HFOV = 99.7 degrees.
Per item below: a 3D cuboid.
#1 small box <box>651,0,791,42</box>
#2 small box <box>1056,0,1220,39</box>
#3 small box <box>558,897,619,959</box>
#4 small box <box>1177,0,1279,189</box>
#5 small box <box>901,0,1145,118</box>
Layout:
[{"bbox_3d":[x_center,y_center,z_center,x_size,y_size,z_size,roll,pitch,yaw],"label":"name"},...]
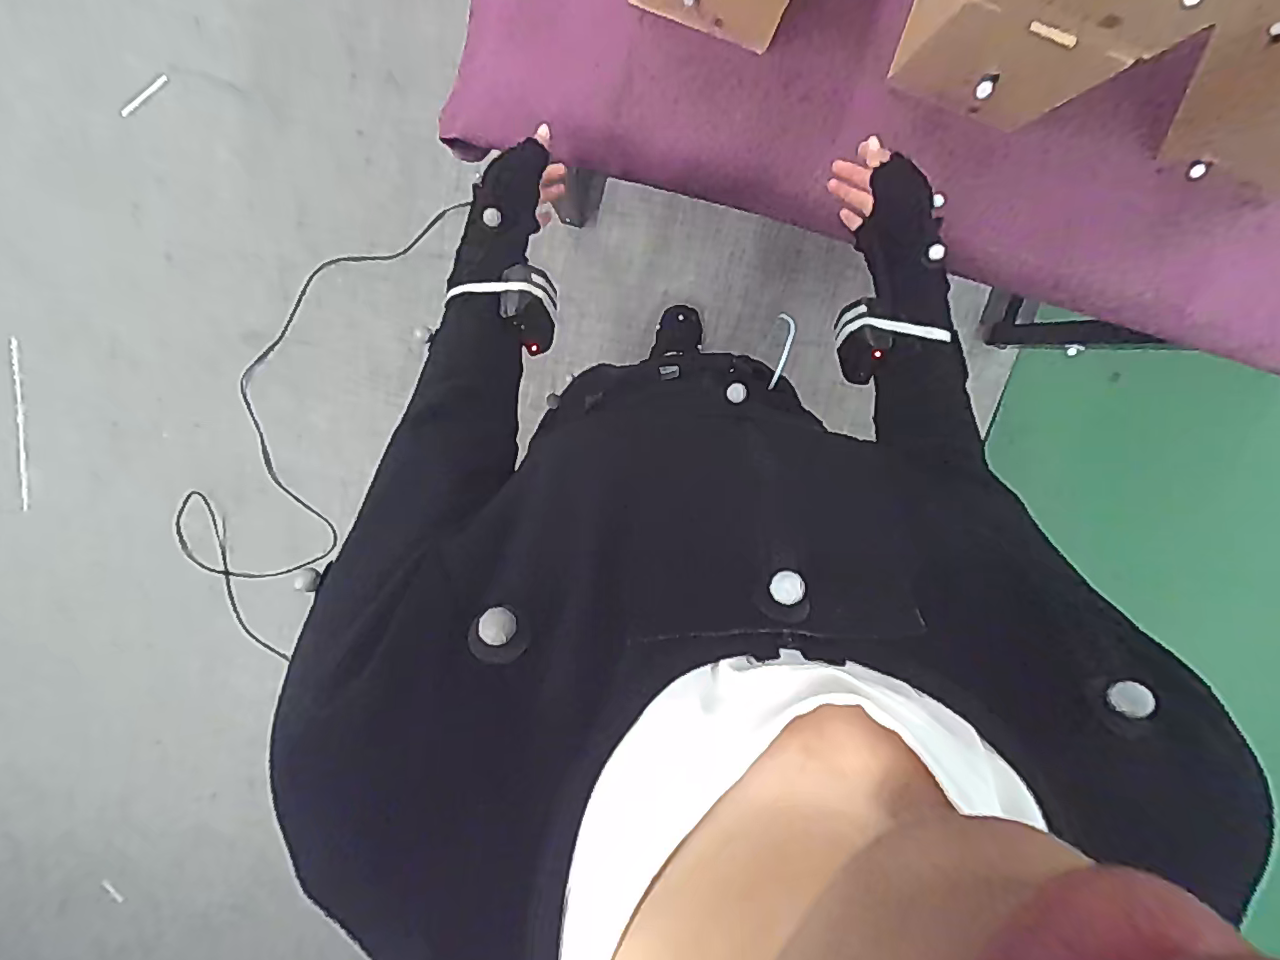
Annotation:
[{"bbox_3d":[0.098,-0.576,0.509,0.168,0.176,0.179,16,103,-5],"label":"small box"},{"bbox_3d":[0.400,-0.462,0.373,0.168,0.176,0.179,16,103,-5],"label":"small box"},{"bbox_3d":[-0.161,1.459,1.686,0.168,0.176,0.179,12,104,-4],"label":"small box"},{"bbox_3d":[0.725,-0.428,0.552,0.168,0.176,0.179,17,103,-6],"label":"small box"},{"bbox_3d":[0.391,-0.500,0.532,0.168,0.176,0.179,16,103,-5],"label":"small box"}]
